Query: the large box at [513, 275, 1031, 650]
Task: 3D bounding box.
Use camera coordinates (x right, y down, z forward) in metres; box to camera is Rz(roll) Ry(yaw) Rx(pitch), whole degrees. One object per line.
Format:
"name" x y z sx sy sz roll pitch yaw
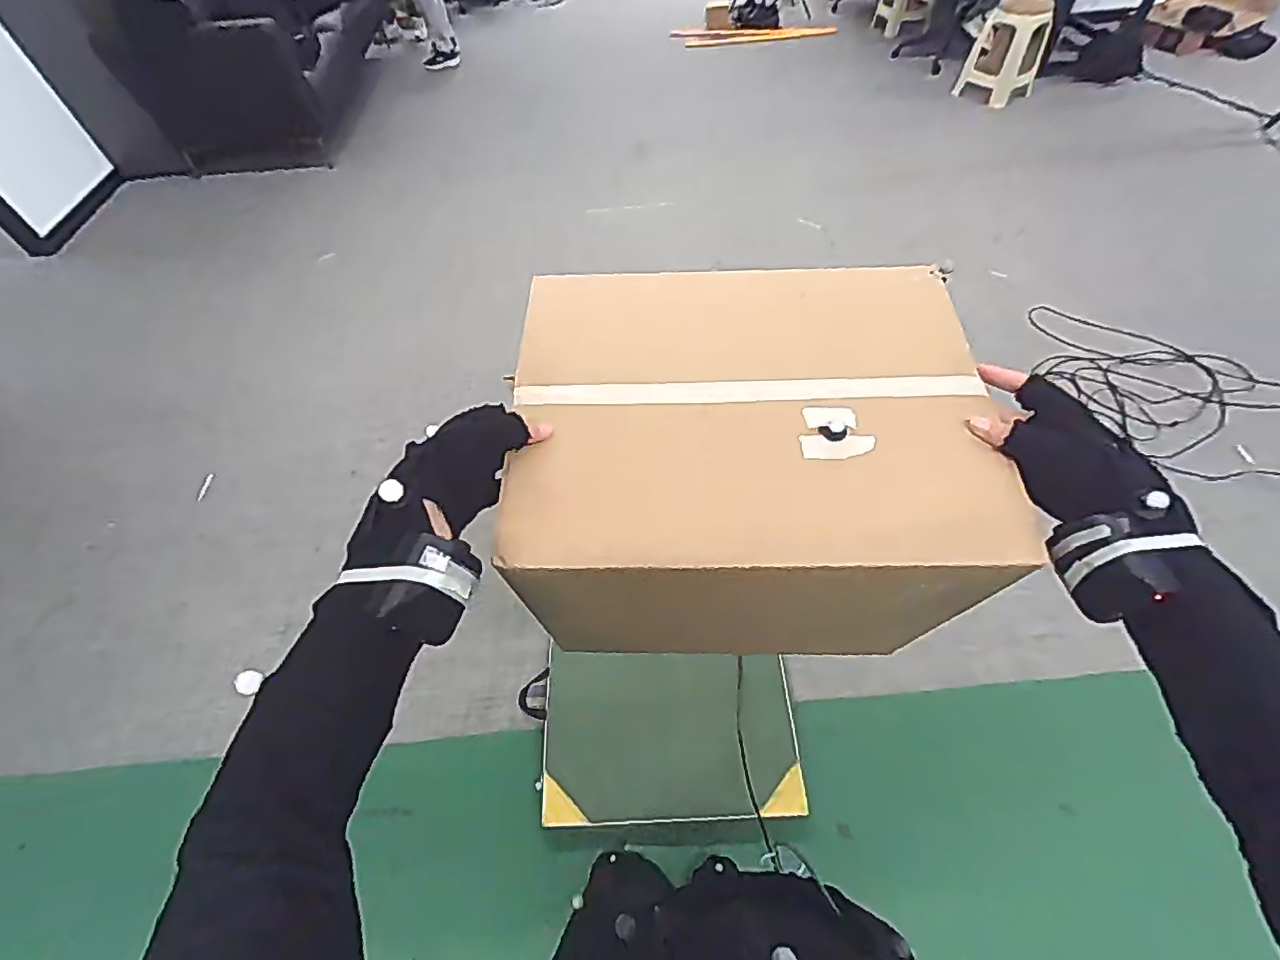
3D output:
"large box" 0.099 0.000 0.611 0.408 0.320 0.320 -1 61 1
